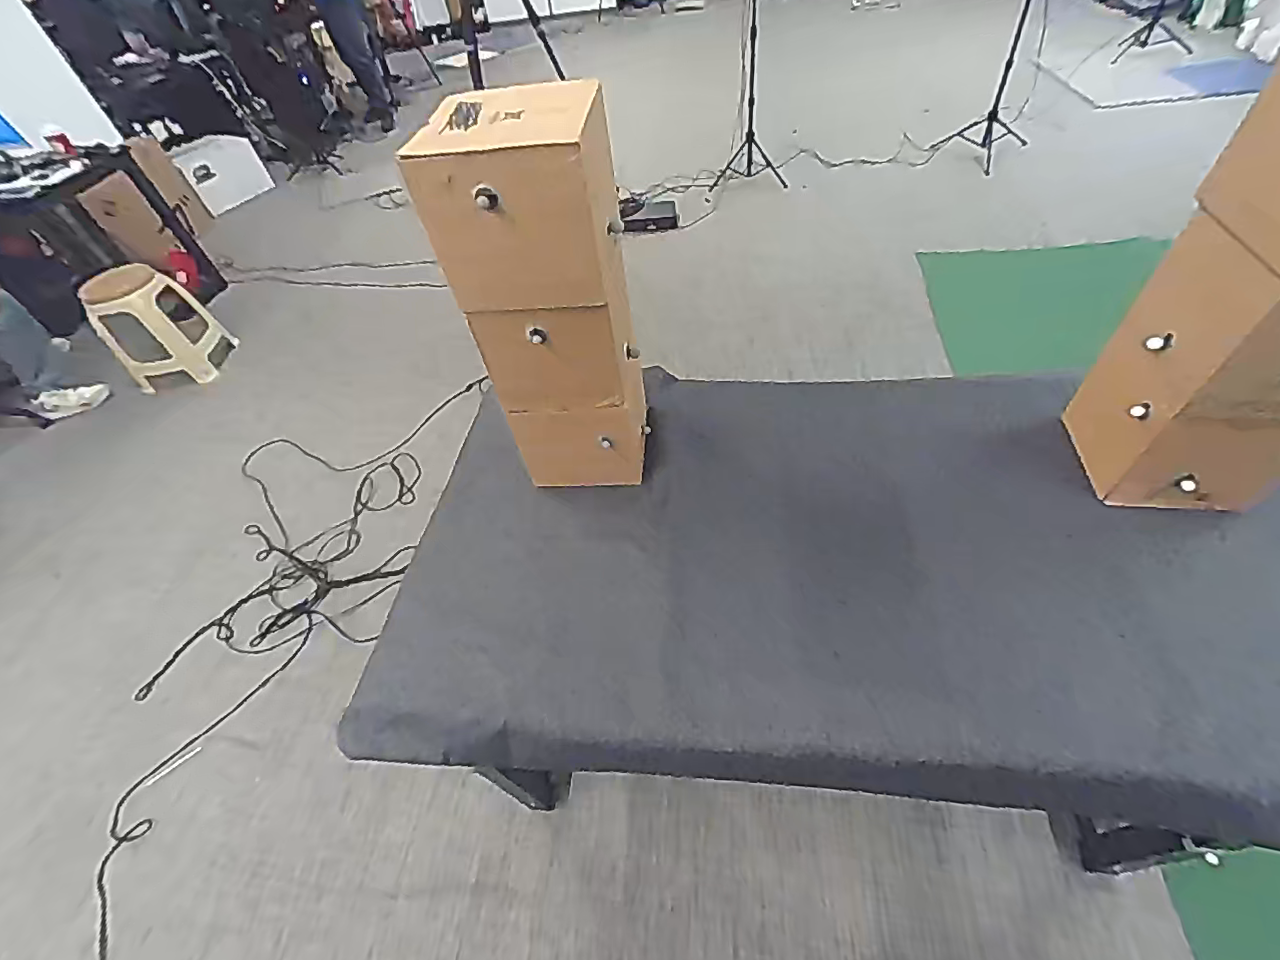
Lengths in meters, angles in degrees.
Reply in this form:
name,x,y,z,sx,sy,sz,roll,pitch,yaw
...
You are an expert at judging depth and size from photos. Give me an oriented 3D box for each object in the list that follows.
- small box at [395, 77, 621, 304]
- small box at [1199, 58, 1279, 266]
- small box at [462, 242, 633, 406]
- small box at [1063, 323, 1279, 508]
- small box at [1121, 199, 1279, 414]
name,x,y,z,sx,sy,sz,roll,pitch,yaw
small box,-0.124,-0.308,0.592,0.179,0.176,0.168,0,52,7
small box,0.652,-0.288,0.454,0.168,0.176,0.179,2,51,10
small box,-0.109,-0.212,0.725,0.179,0.176,0.168,-1,52,6
small box,0.703,-0.085,0.708,0.168,0.176,0.179,3,52,11
small box,0.679,-0.184,0.580,0.168,0.176,0.179,3,53,11
